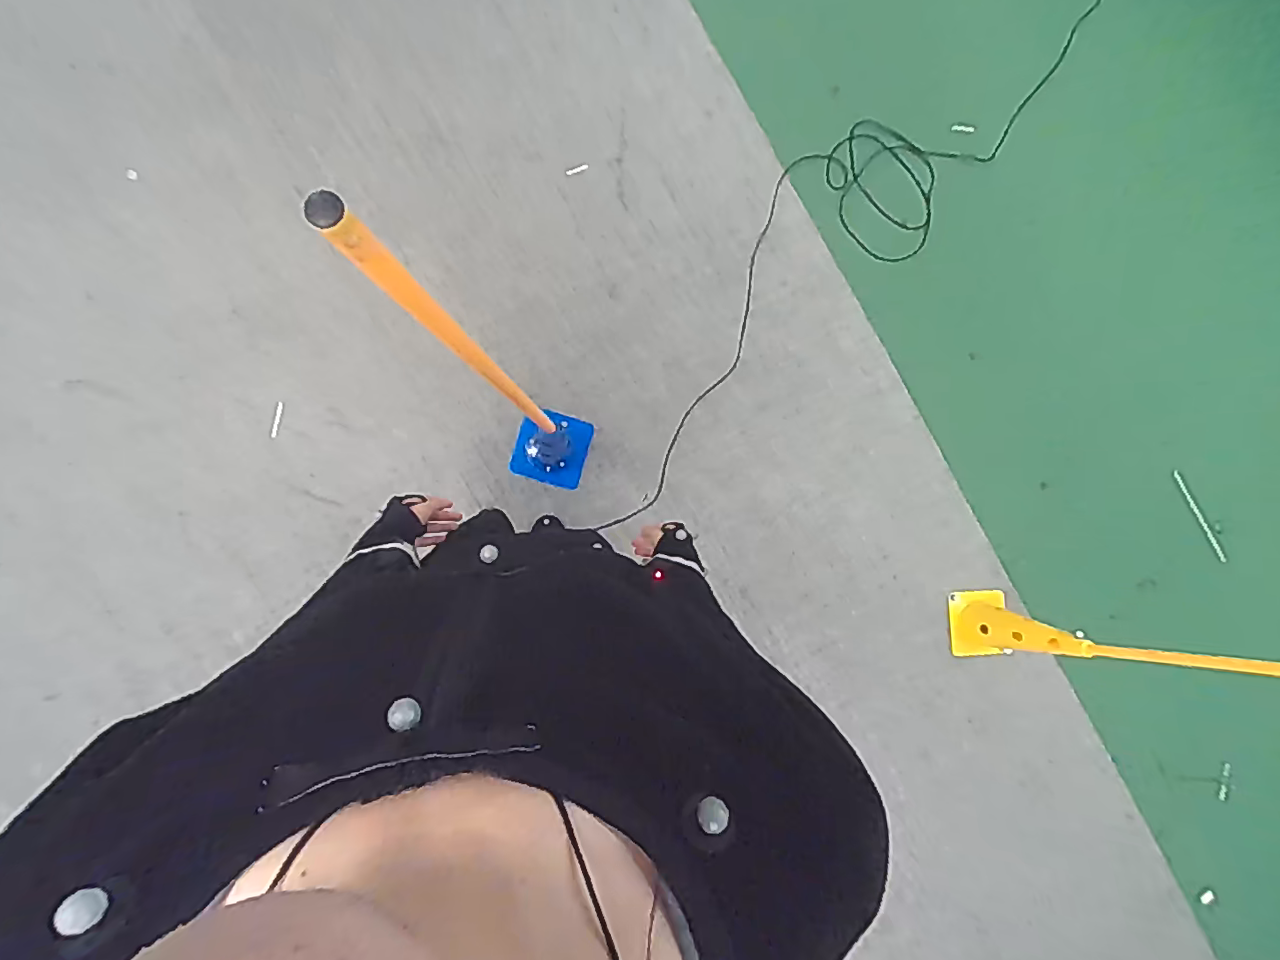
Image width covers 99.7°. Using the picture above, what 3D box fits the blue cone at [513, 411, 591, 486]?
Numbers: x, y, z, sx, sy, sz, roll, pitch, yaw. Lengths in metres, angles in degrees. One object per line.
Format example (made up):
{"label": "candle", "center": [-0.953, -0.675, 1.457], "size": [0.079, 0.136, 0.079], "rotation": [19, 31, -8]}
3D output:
{"label": "blue cone", "center": [-0.221, -0.098, 1.334], "size": [0.193, 0.380, 0.192], "rotation": [15, 84, -7]}
